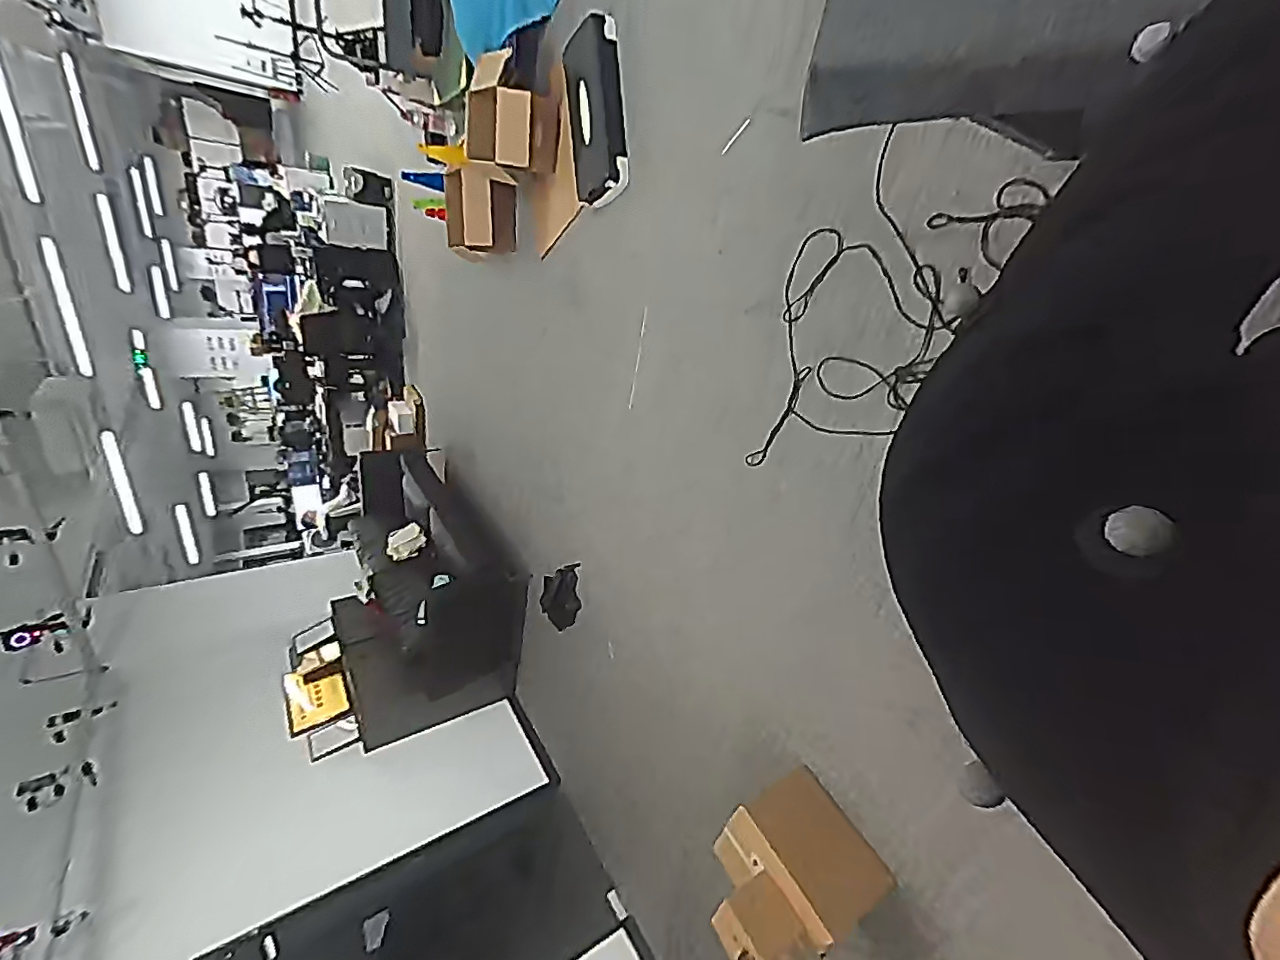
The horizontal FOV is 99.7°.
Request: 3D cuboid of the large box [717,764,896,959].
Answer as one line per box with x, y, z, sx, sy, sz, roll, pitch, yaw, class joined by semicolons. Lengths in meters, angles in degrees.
0.526;1.241;1.762;0.408;0.320;0.320;48;133;40;large box
